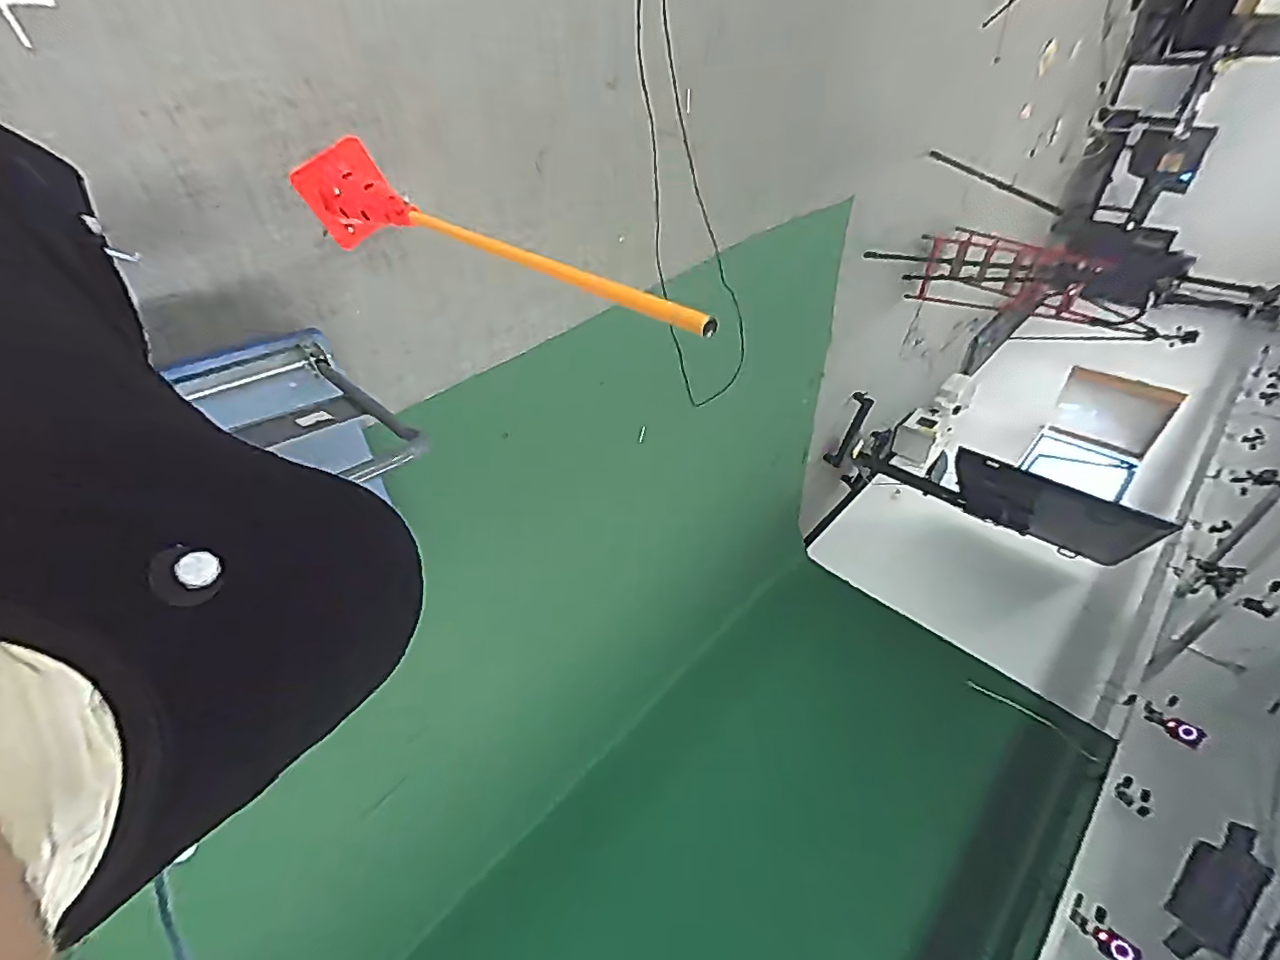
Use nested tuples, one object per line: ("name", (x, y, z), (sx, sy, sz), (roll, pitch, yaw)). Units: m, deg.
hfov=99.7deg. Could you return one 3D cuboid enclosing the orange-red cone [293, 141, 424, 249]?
("orange-red cone", (-0.605, -0.638, 1.257), (0.199, 0.360, 0.198), (-47, 145, -18))
